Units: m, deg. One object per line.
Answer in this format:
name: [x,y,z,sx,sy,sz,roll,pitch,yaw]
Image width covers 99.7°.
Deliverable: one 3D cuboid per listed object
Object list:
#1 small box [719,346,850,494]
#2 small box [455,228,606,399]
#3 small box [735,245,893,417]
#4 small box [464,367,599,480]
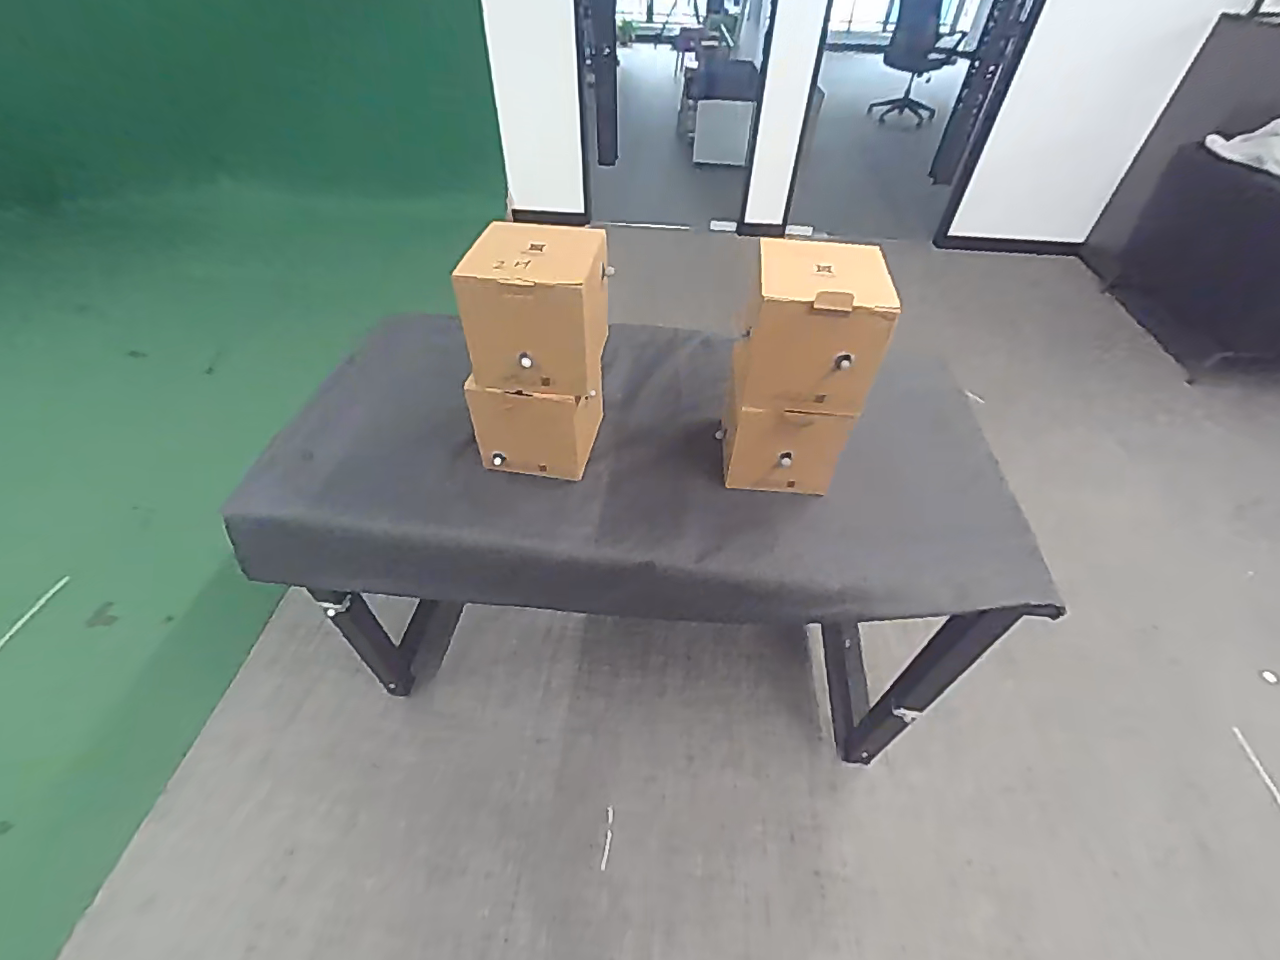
small box: [0.222,-0.095,0.877,0.168,0.176,0.179,4,46,2]
small box: [-0.143,-0.240,0.777,0.168,0.176,0.179,5,46,4]
small box: [0.230,-0.208,0.761,0.168,0.176,0.179,7,45,4]
small box: [-0.164,-0.121,0.890,0.168,0.176,0.179,8,45,5]
